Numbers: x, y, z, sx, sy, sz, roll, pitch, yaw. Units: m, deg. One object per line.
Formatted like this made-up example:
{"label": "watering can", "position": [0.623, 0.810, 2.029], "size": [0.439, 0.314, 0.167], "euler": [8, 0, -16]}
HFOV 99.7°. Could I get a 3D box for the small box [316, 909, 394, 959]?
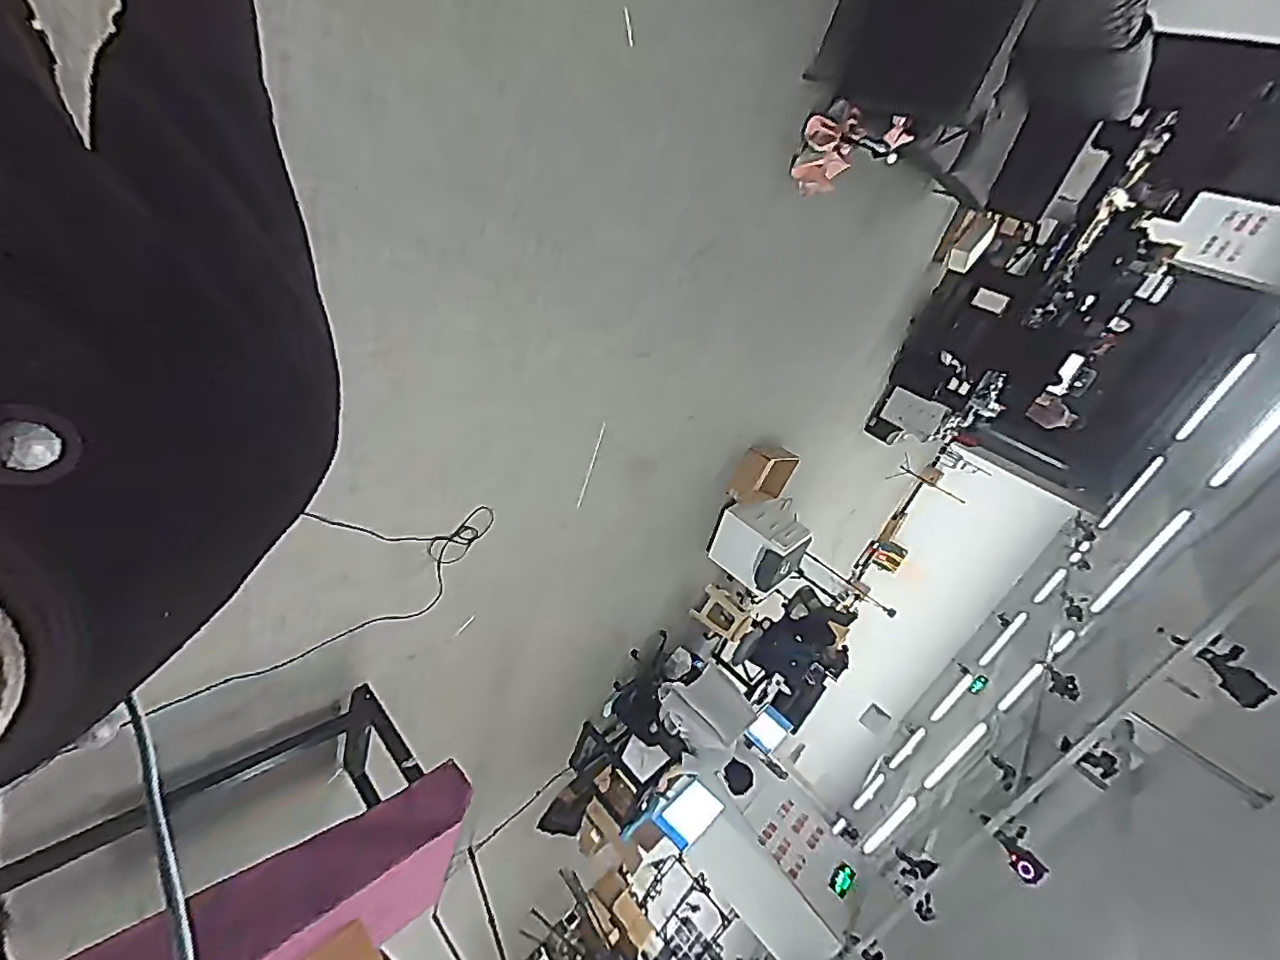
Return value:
{"label": "small box", "position": [-0.930, 1.561, 1.761], "size": [0.179, 0.176, 0.168], "euler": [-14, 133, -46]}
